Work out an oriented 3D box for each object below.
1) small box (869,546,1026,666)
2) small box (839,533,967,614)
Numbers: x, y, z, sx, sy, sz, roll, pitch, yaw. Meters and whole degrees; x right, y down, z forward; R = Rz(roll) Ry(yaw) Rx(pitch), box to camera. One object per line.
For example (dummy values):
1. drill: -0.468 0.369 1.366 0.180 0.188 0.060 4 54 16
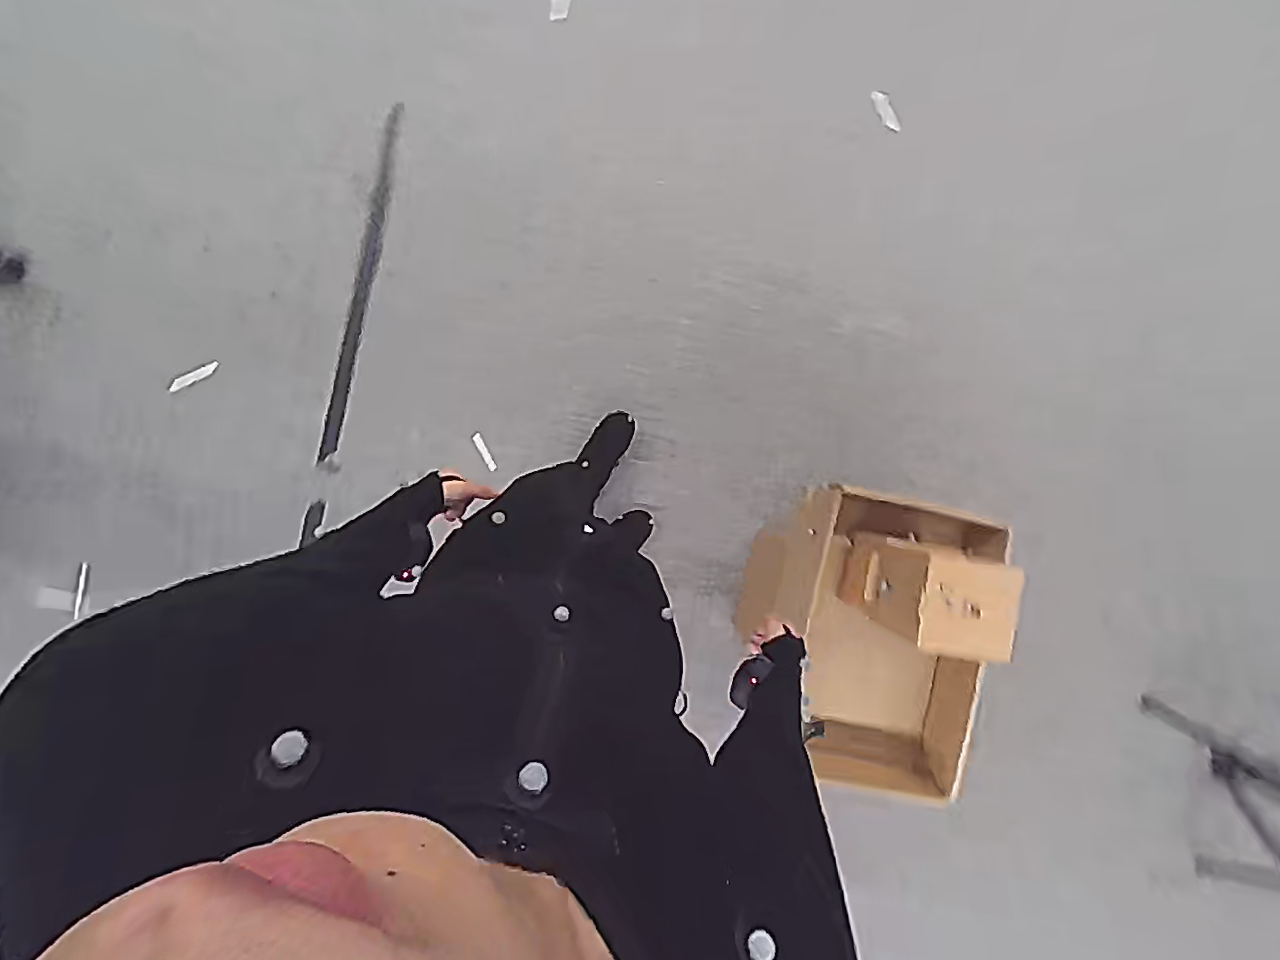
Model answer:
1. small box: 0.561 0.225 1.007 0.179 0.176 0.168 10 90 -3
2. small box: 0.558 0.215 1.171 0.179 0.176 0.168 12 91 -4
